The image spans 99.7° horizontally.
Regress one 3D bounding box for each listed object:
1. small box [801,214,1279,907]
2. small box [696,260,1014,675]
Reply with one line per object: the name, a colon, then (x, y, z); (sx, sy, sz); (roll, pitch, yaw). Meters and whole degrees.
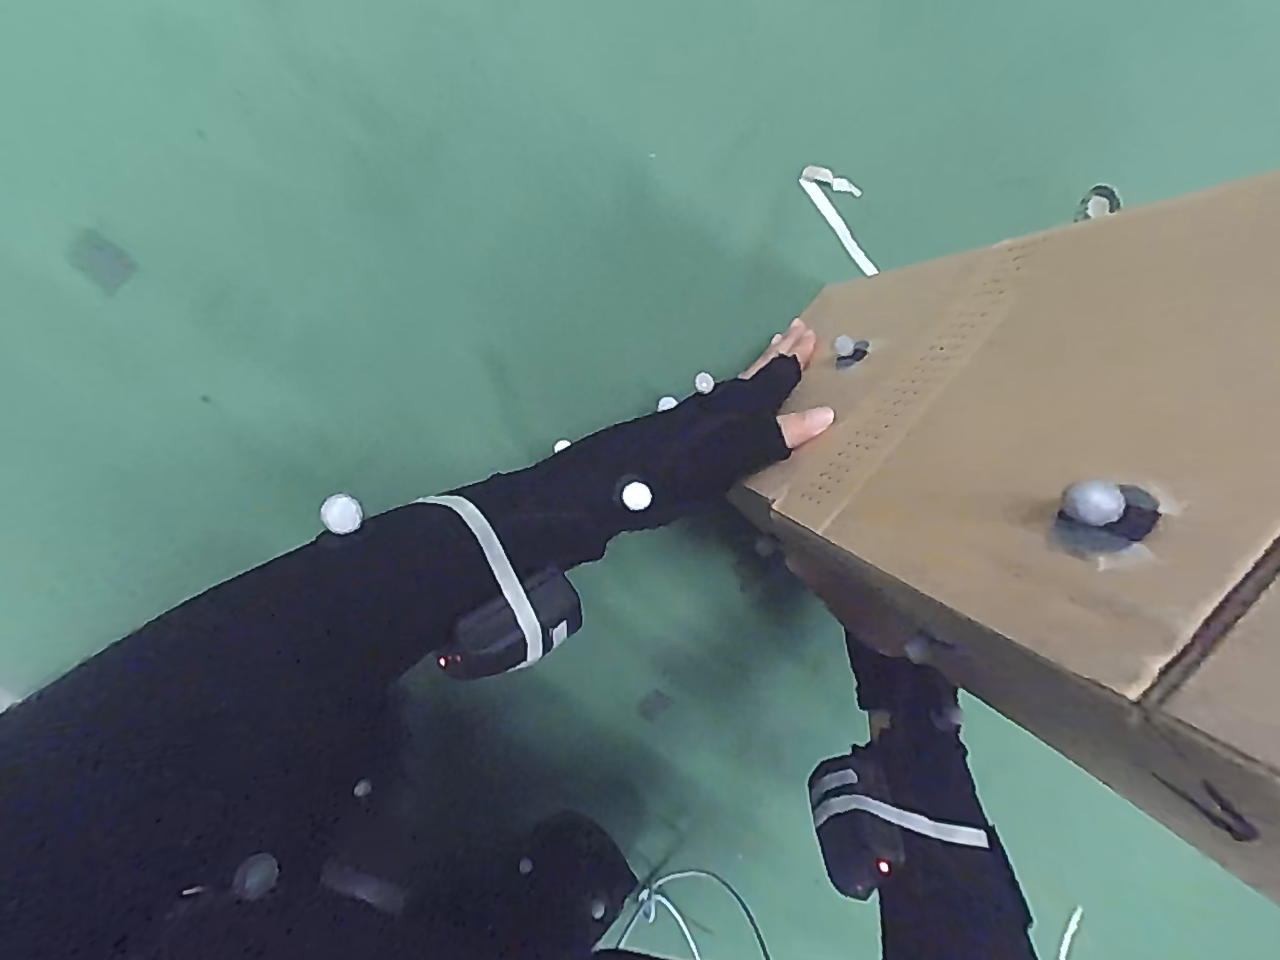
small box: (0.202, 0.017, 0.213); (0.168, 0.176, 0.179); (40, 92, -18)
small box: (0.166, -0.016, 0.369); (0.168, 0.176, 0.179); (43, 91, -18)
